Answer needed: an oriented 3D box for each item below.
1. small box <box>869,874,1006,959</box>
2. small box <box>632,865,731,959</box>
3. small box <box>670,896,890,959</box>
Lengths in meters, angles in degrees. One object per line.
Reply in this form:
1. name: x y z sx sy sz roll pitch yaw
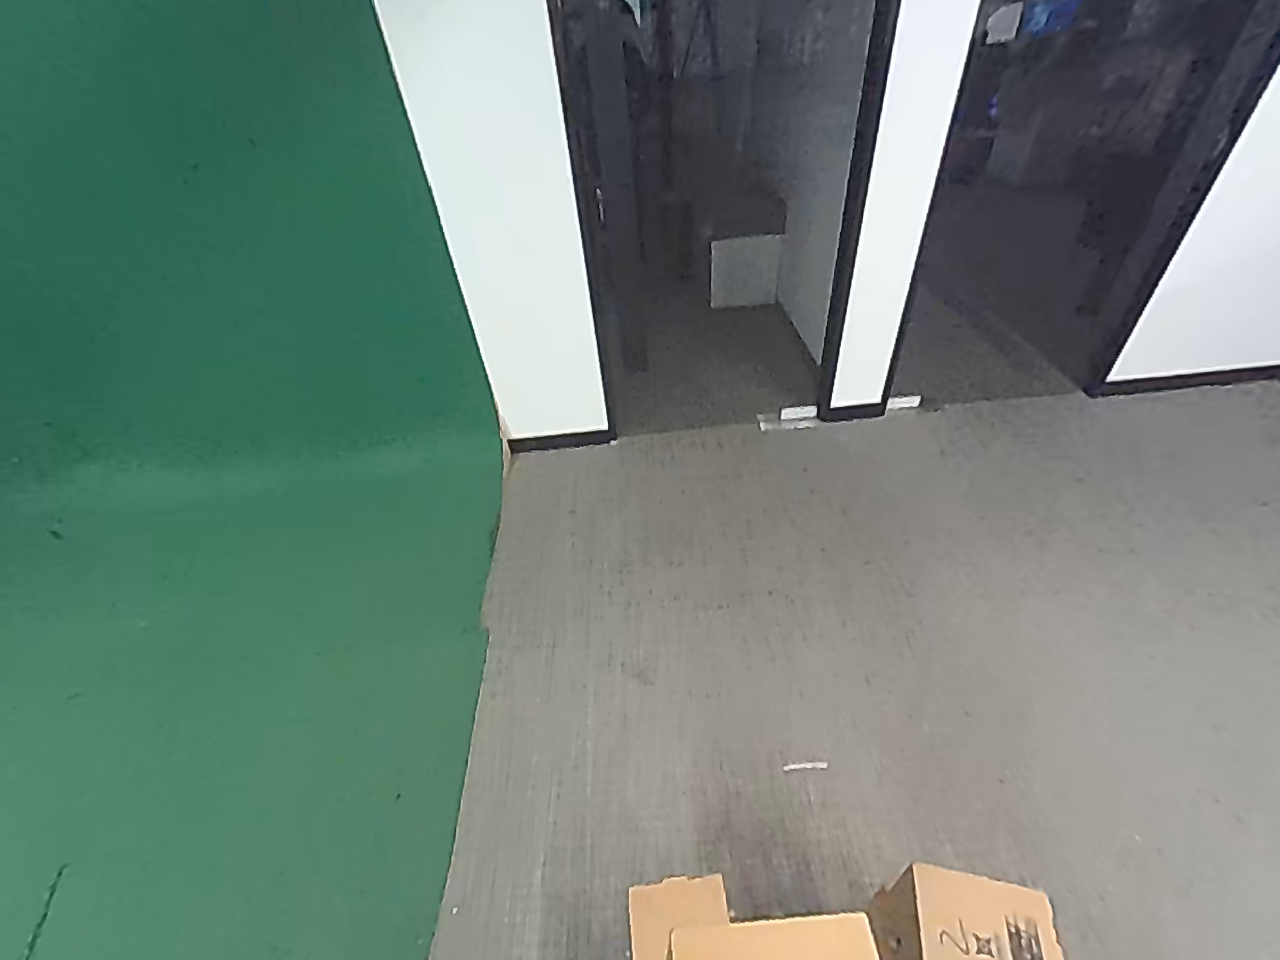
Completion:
1. small box: 0.480 0.783 0.881 0.168 0.176 0.179 4 43 12
2. small box: 0.079 0.792 0.921 0.168 0.176 0.179 -8 41 -1
3. small box: 0.114 0.463 0.433 0.168 0.176 0.179 -3 44 -2
